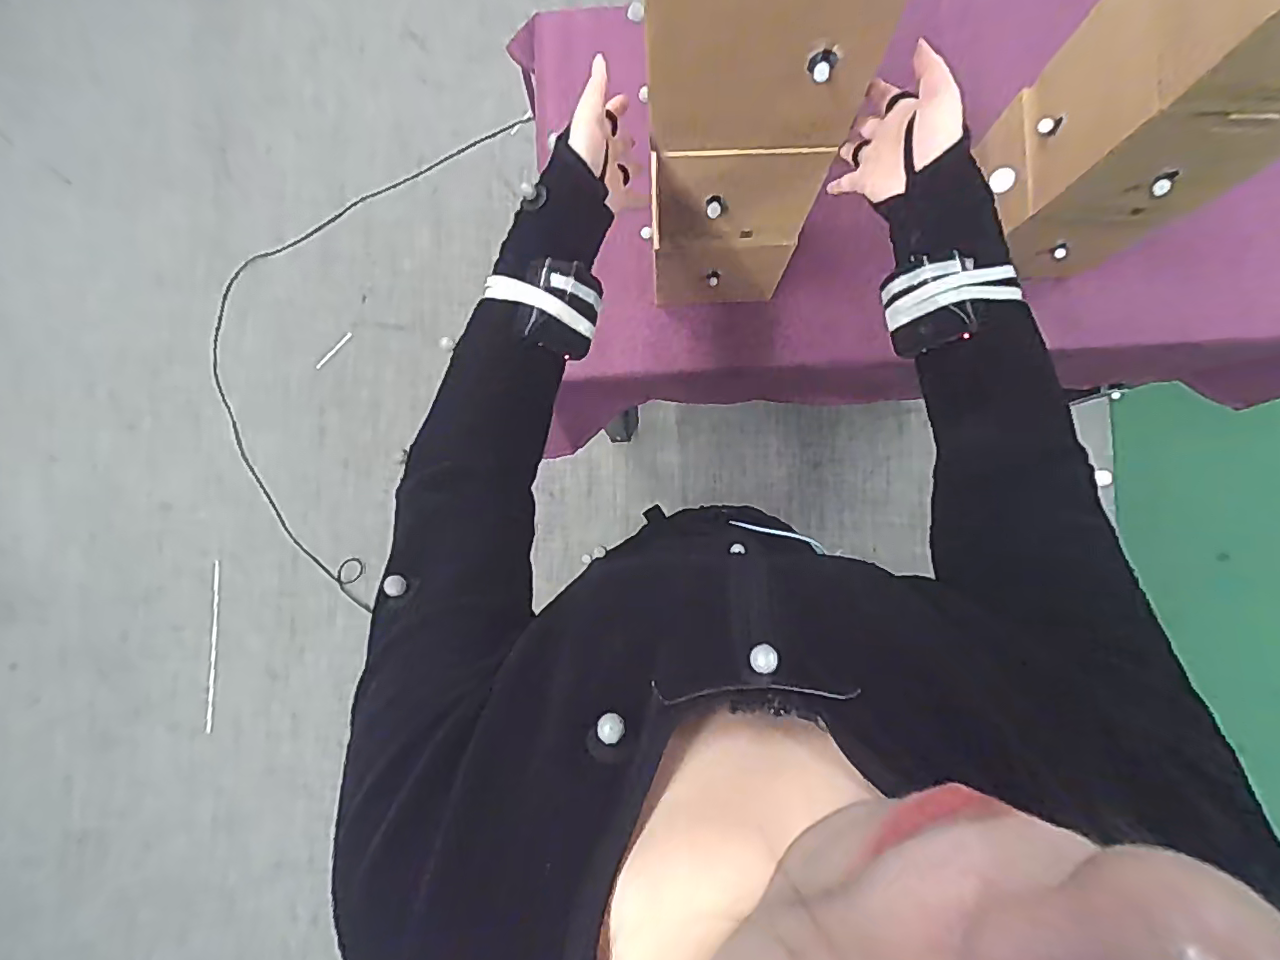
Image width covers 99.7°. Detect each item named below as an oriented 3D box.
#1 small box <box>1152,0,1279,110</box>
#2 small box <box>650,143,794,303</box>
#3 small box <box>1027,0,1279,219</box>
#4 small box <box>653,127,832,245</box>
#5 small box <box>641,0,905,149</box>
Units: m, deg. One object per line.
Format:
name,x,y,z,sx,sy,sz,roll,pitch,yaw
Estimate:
small box,0.534,-0.410,0.400,0.168,0.176,0.179,2,85,3
small box,0.103,-0.356,0.743,0.179,0.176,0.168,-1,85,3
small box,0.542,-0.398,0.565,0.168,0.176,0.179,4,86,2
small box,0.099,-0.373,0.582,0.168,0.176,0.179,0,84,2
small box,0.091,-0.389,0.419,0.179,0.176,0.168,1,83,3
